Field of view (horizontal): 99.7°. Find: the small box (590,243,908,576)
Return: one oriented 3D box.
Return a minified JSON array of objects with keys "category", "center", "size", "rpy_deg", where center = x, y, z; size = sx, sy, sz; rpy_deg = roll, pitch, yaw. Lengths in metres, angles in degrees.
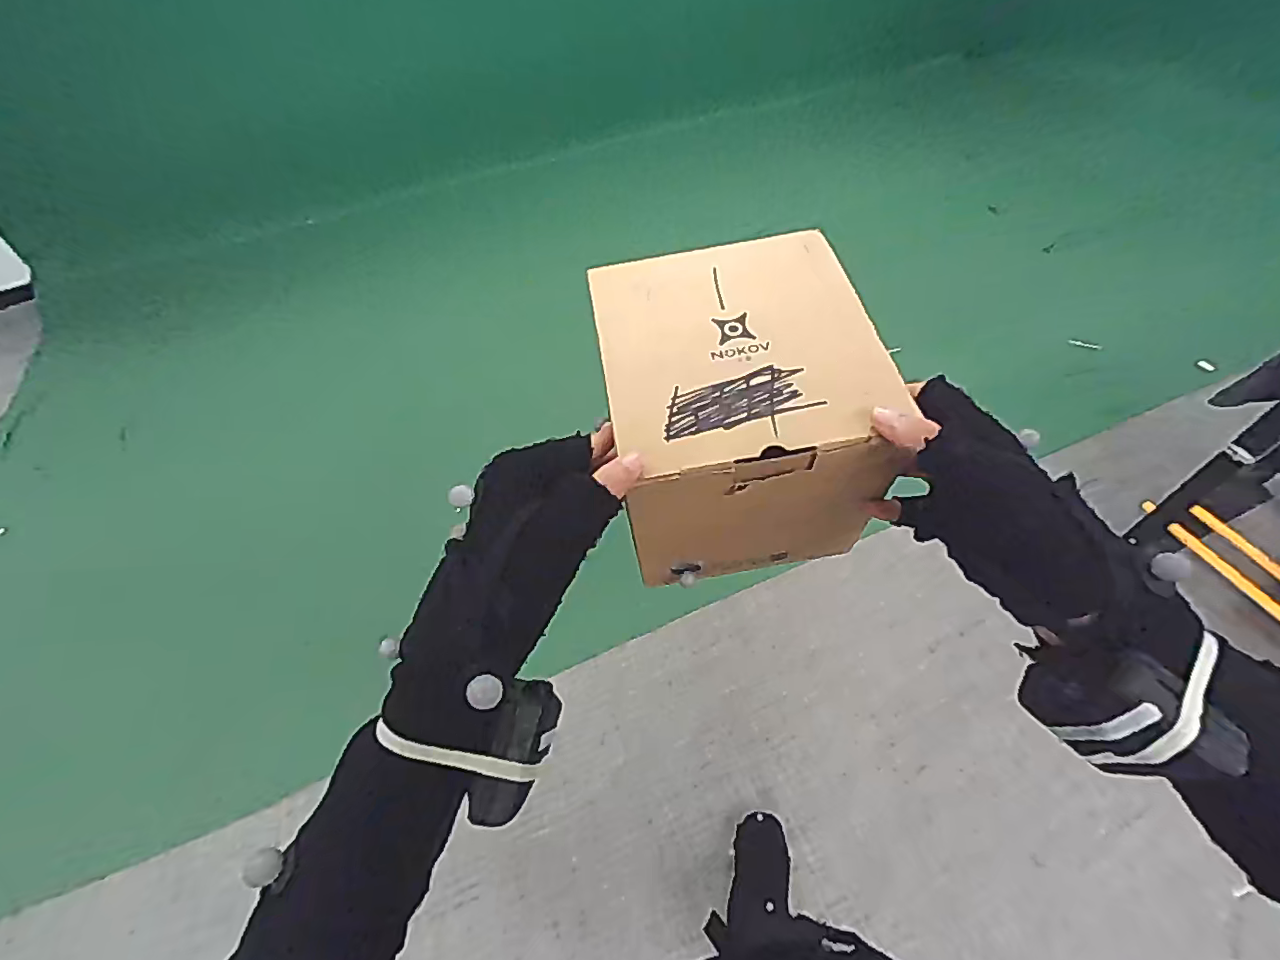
[{"category":"small box","center":[0.064,-0.039,0.406],"size":[0.168,0.176,0.179],"rpy_deg":[-10,58,0]}]
